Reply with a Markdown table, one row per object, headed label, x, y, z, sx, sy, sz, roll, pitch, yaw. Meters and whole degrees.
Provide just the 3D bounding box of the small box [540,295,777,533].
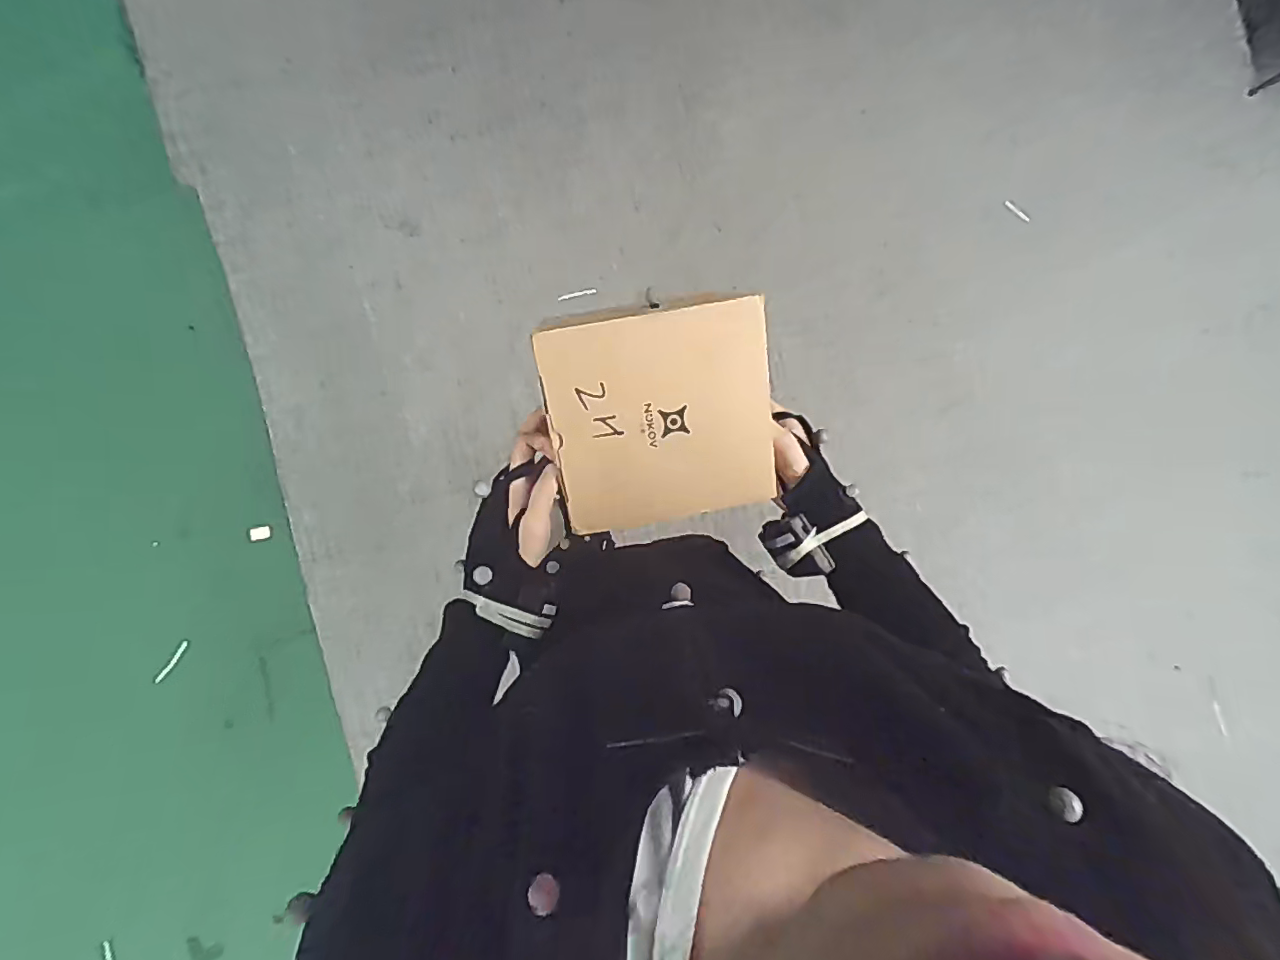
| label | x | y | z | sx | sy | sz | roll | pitch | yaw |
| --- | --- | --- | --- | --- | --- | --- | --- | --- | --- |
| small box | 0.012 | -0.073 | 0.499 | 0.179 | 0.176 | 0.168 | -10 | 111 | -3 |
